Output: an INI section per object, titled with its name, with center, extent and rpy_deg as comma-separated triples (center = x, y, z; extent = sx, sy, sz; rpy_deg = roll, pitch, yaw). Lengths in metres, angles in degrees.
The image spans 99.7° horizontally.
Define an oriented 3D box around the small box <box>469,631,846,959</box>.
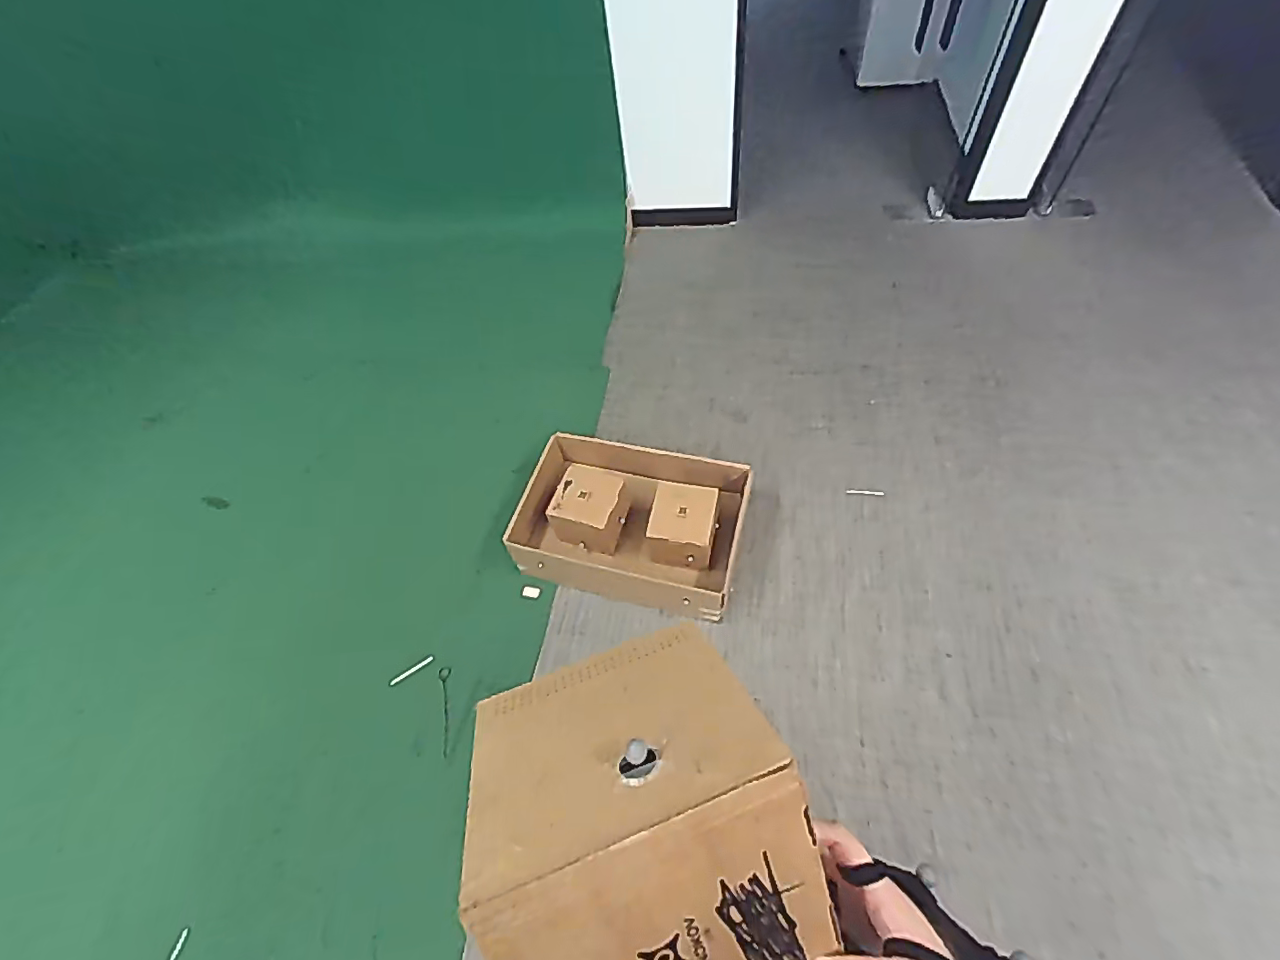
[small box]
center = 0.002, 0.228, 0.358
extent = 0.179, 0.168, 0.176
rpy_deg = -19, 15, -9
